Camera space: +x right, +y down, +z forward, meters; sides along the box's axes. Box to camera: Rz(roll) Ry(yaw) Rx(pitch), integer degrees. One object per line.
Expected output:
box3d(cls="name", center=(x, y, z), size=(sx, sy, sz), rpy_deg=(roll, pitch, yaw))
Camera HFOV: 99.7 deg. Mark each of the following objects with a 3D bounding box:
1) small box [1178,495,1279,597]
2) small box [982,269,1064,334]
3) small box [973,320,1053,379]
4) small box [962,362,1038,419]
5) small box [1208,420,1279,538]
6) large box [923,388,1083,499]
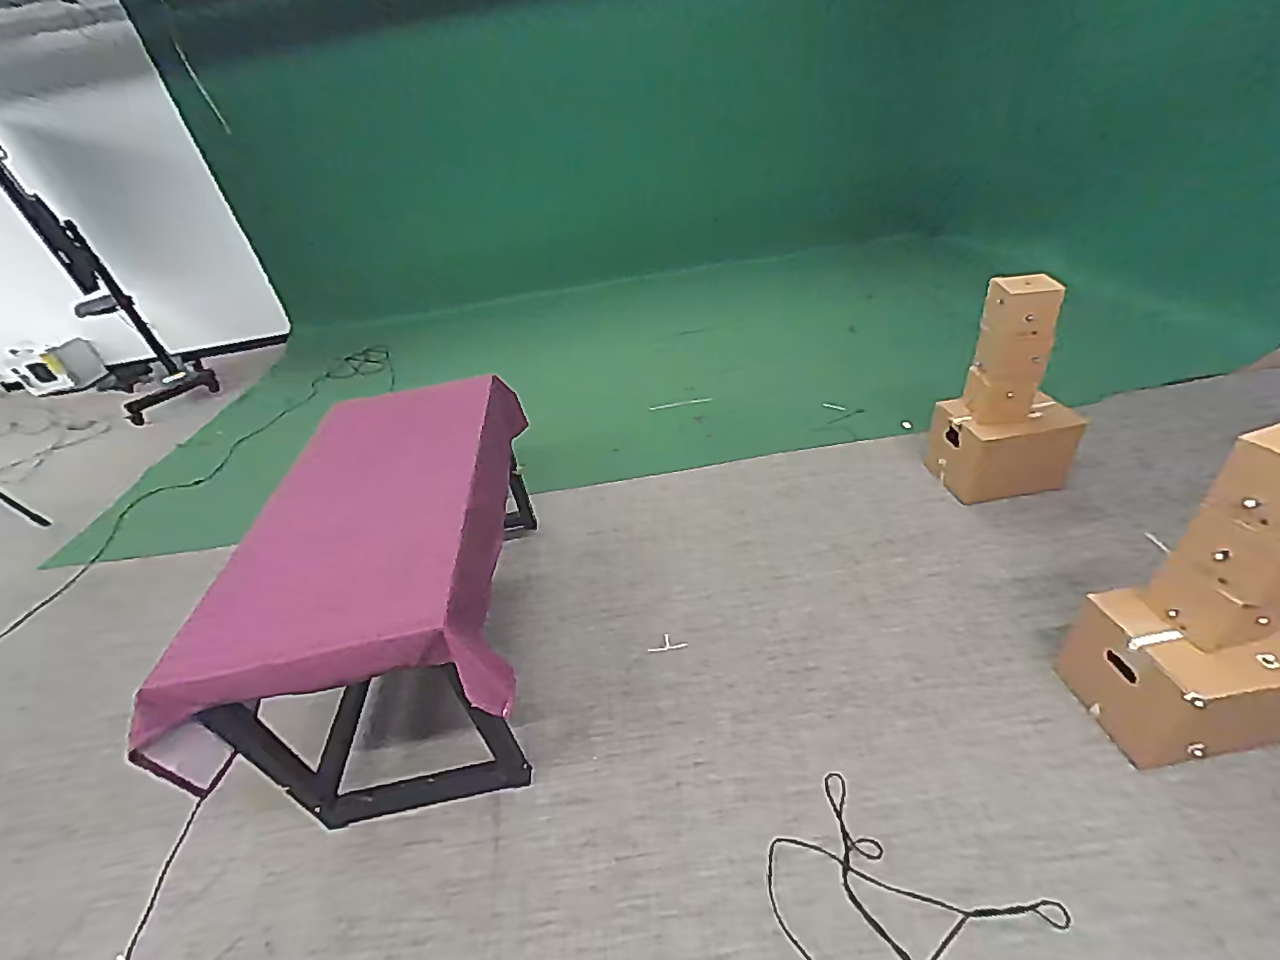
box3d(cls="small box", center=(1.328, 0.126, 1.166), size=(0.179, 0.176, 0.168), rpy_deg=(-16, 36, -7))
box3d(cls="small box", center=(1.322, -0.616, 1.879), size=(0.168, 0.176, 0.179), rpy_deg=(-1, 36, 12))
box3d(cls="small box", center=(1.349, -0.480, 1.968), size=(0.179, 0.176, 0.168), rpy_deg=(-2, 36, 12))
box3d(cls="small box", center=(1.363, -0.346, 2.060), size=(0.179, 0.176, 0.168), rpy_deg=(-4, 36, 9))
box3d(cls="small box", center=(1.307, -0.008, 1.070), size=(0.179, 0.176, 0.168), rpy_deg=(-16, 35, -7))
box3d(cls="large box", center=(1.447, -0.159, 2.199), size=(0.408, 0.320, 0.320), rpy_deg=(-9, 37, -1))
